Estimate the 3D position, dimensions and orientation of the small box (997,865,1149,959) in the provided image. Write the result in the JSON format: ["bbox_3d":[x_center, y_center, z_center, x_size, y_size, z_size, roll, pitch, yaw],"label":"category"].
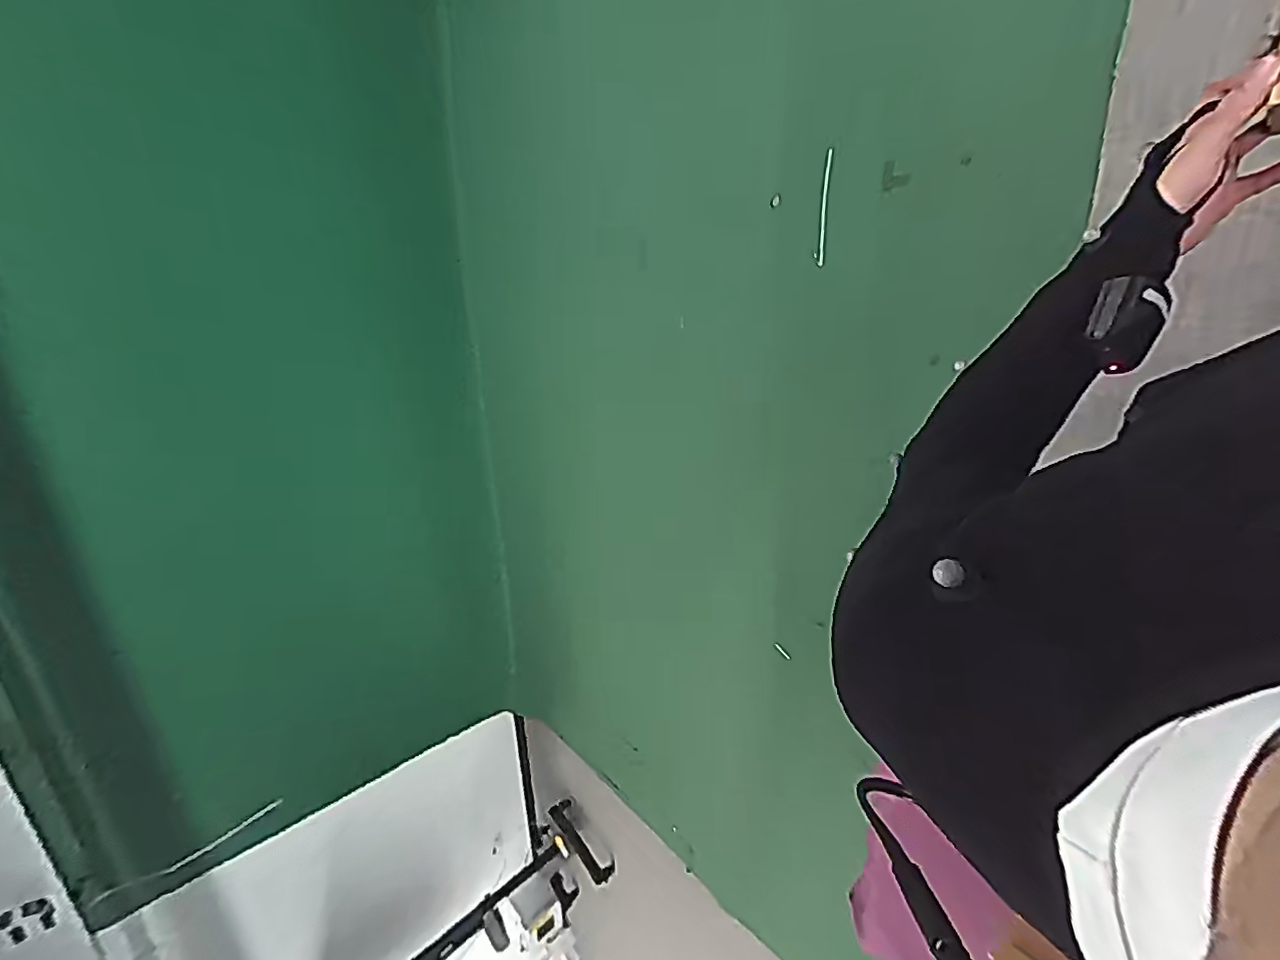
[{"bbox_3d":[0.661,0.771,0.847,0.168,0.176,0.179,19,118,43],"label":"small box"}]

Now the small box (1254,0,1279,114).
[{"bbox_3d":[0.532,-0.354,0.339,0.168,0.176,0.179,13,114,46],"label":"small box"}]
